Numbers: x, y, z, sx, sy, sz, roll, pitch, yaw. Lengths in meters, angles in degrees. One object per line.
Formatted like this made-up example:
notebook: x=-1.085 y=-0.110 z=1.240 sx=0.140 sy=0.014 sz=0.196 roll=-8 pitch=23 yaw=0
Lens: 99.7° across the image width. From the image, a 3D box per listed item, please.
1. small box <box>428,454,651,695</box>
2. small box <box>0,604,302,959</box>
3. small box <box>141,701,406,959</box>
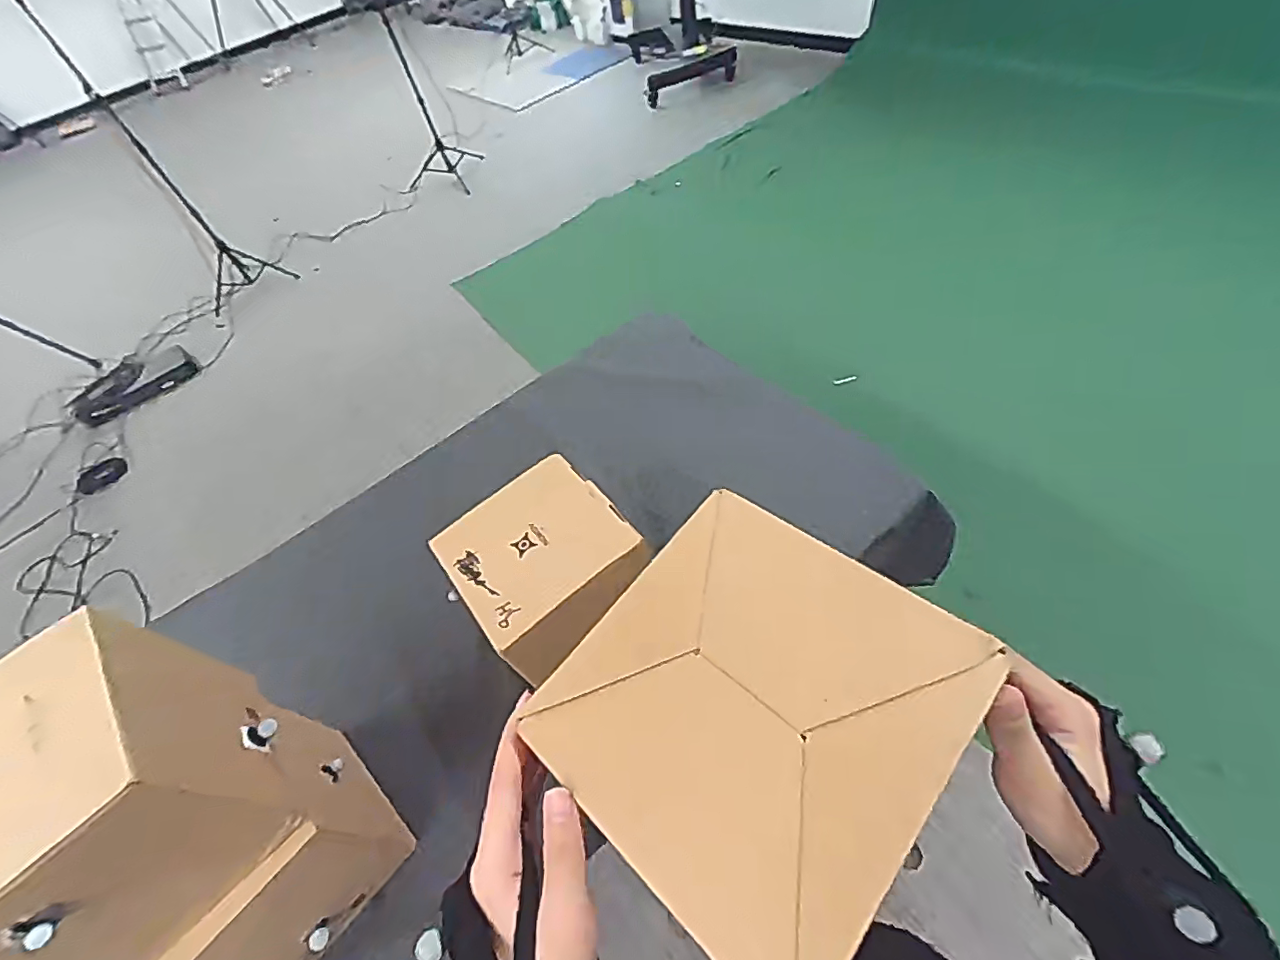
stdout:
small box: x=-0.101 y=0.110 z=0.620 sx=0.179 sy=0.176 sz=0.168 roll=-36 pitch=55 yaw=-16
small box: x=-0.393 y=0.230 z=0.382 sx=0.168 sy=0.176 sz=0.179 roll=36 pitch=66 yaw=30
small box: x=-0.360 y=0.337 z=0.500 sx=0.179 sy=0.176 sz=0.168 roll=31 pitch=65 yaw=29
